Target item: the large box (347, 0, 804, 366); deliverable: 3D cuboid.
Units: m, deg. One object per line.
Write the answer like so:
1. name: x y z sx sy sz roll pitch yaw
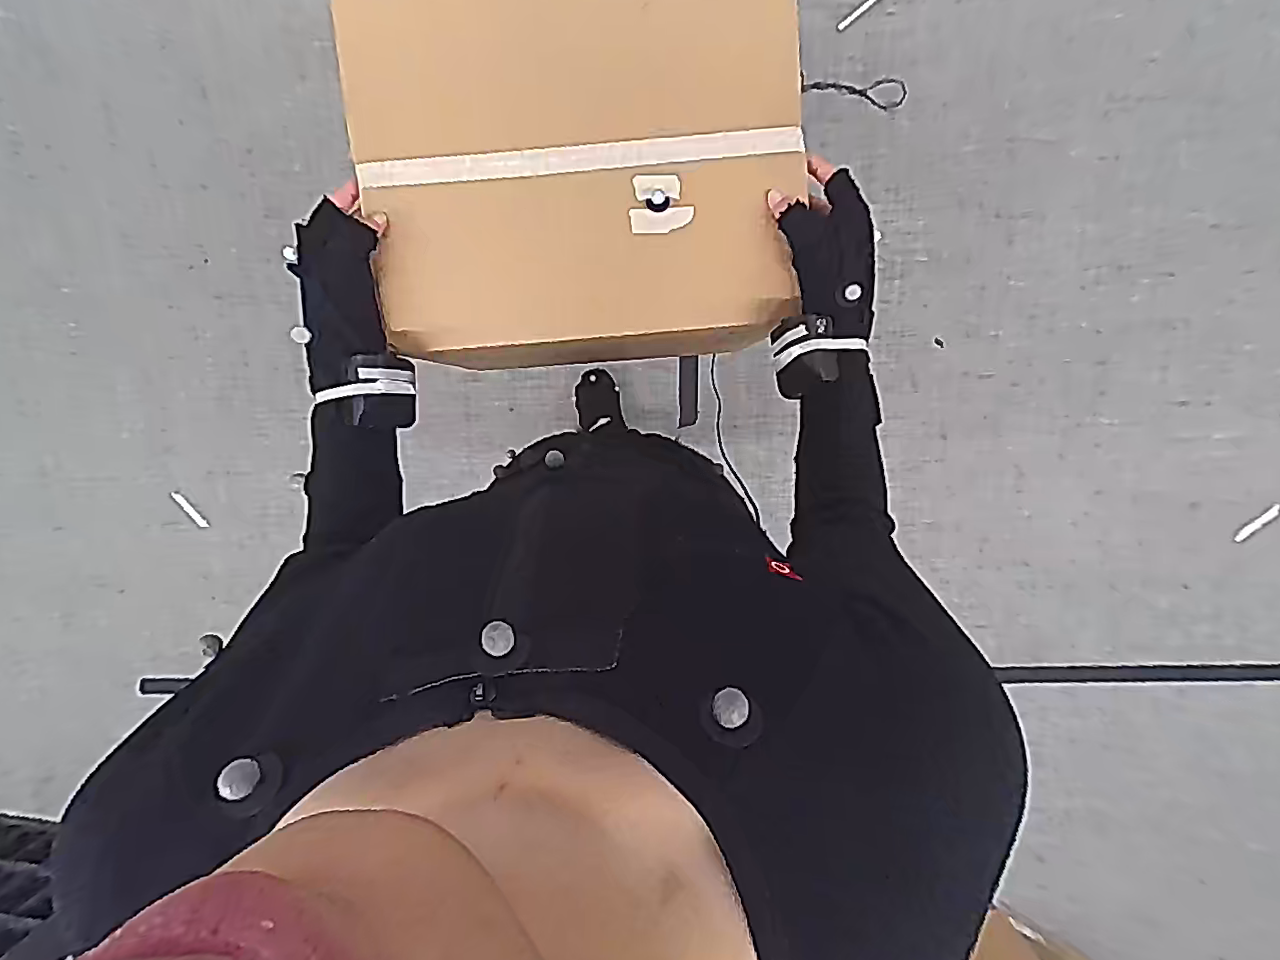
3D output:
1. large box: -0.057 -0.322 0.649 0.408 0.320 0.320 -5 98 -1
